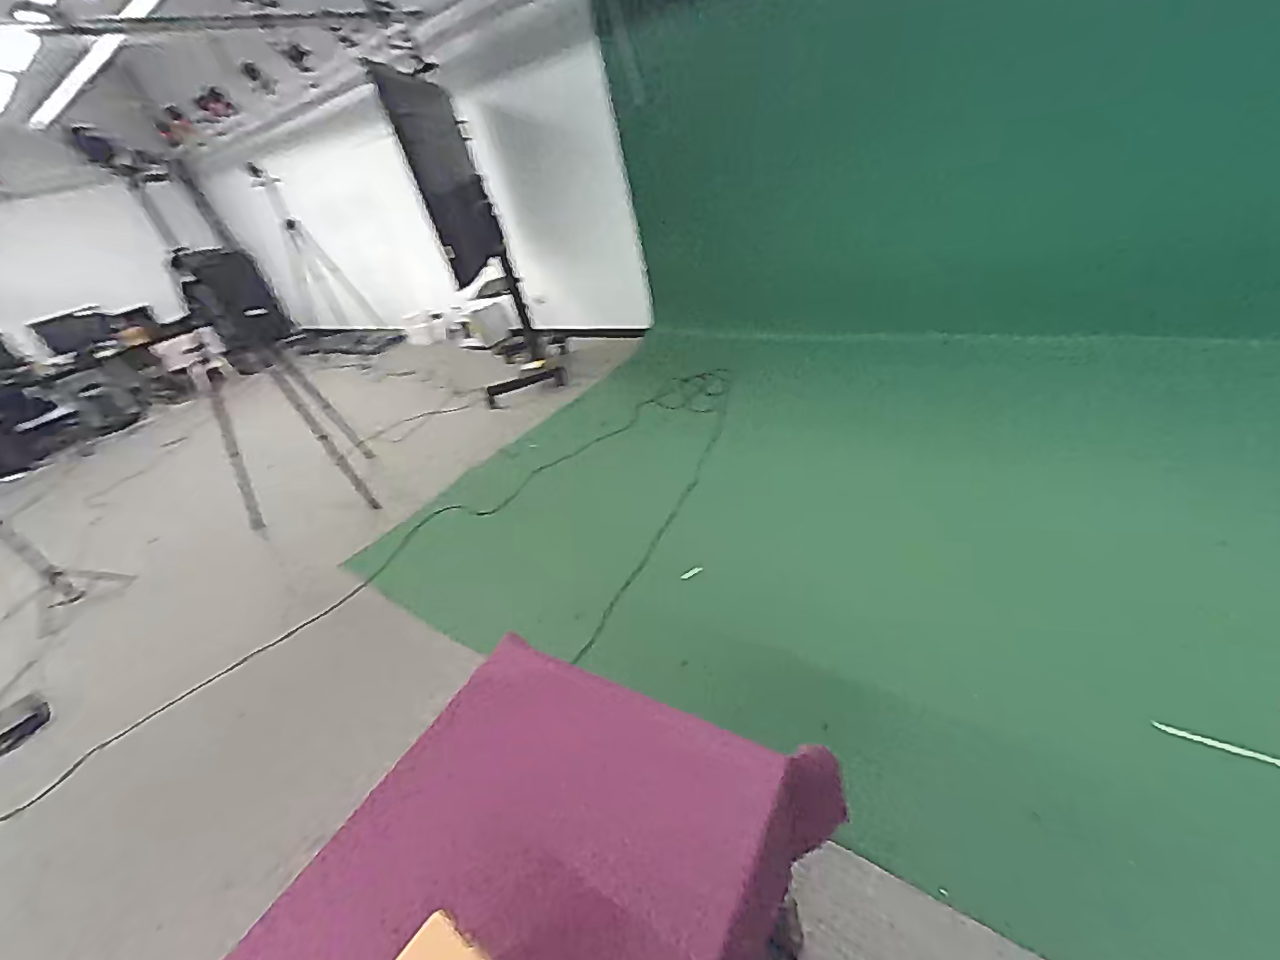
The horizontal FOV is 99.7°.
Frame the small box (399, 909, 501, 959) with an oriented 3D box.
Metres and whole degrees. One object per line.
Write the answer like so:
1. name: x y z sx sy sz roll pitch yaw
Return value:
1. small box: -0.190 0.602 0.544 0.168 0.176 0.179 13 43 37
